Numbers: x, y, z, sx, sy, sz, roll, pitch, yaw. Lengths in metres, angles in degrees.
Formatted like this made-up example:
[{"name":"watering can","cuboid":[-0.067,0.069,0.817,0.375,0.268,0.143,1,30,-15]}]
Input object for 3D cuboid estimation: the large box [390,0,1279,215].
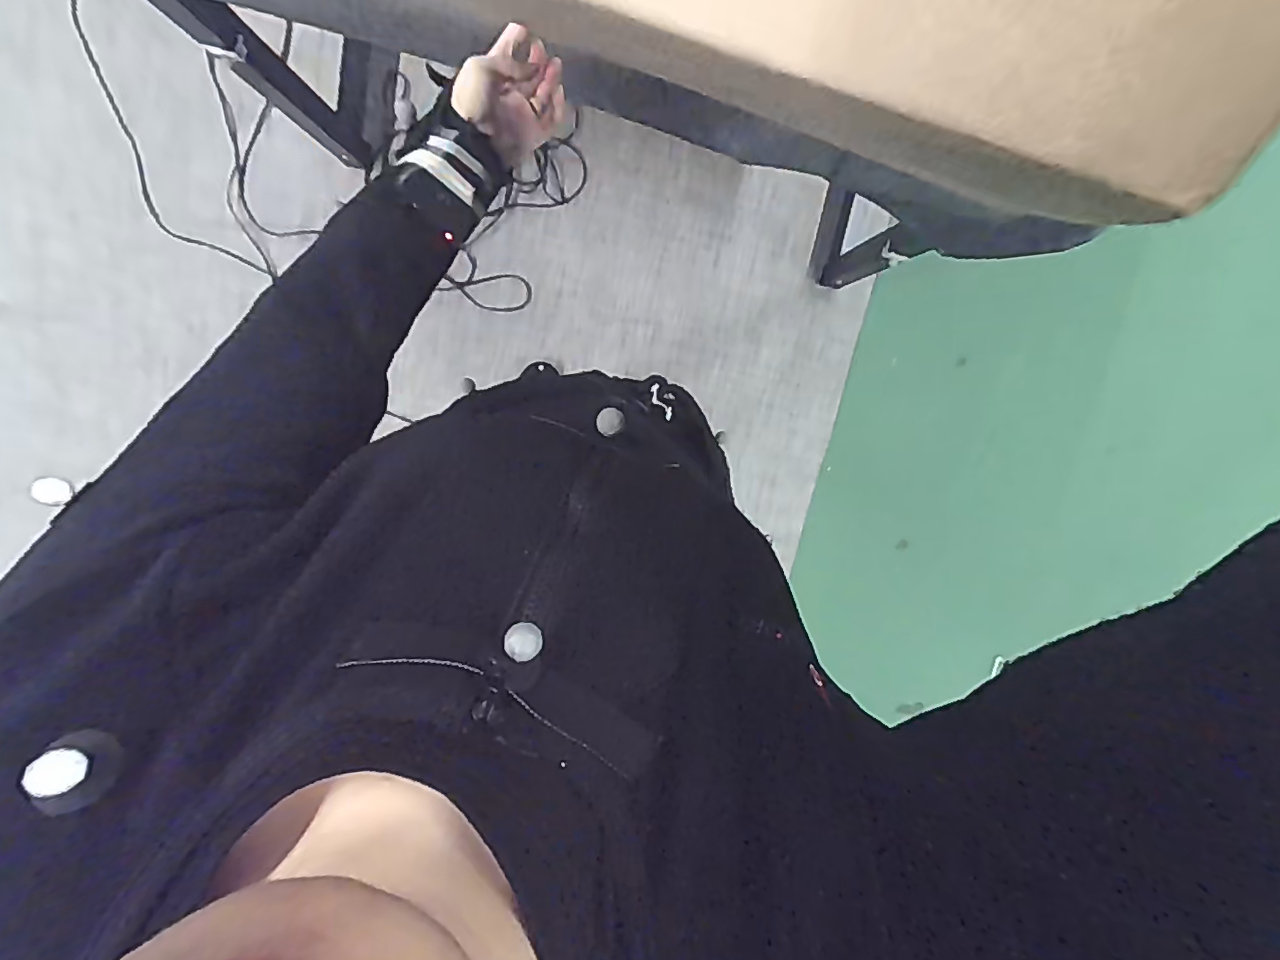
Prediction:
[{"name":"large box","cuboid":[0.070,-0.341,0.219,0.408,0.320,0.320,25,125,9]}]
